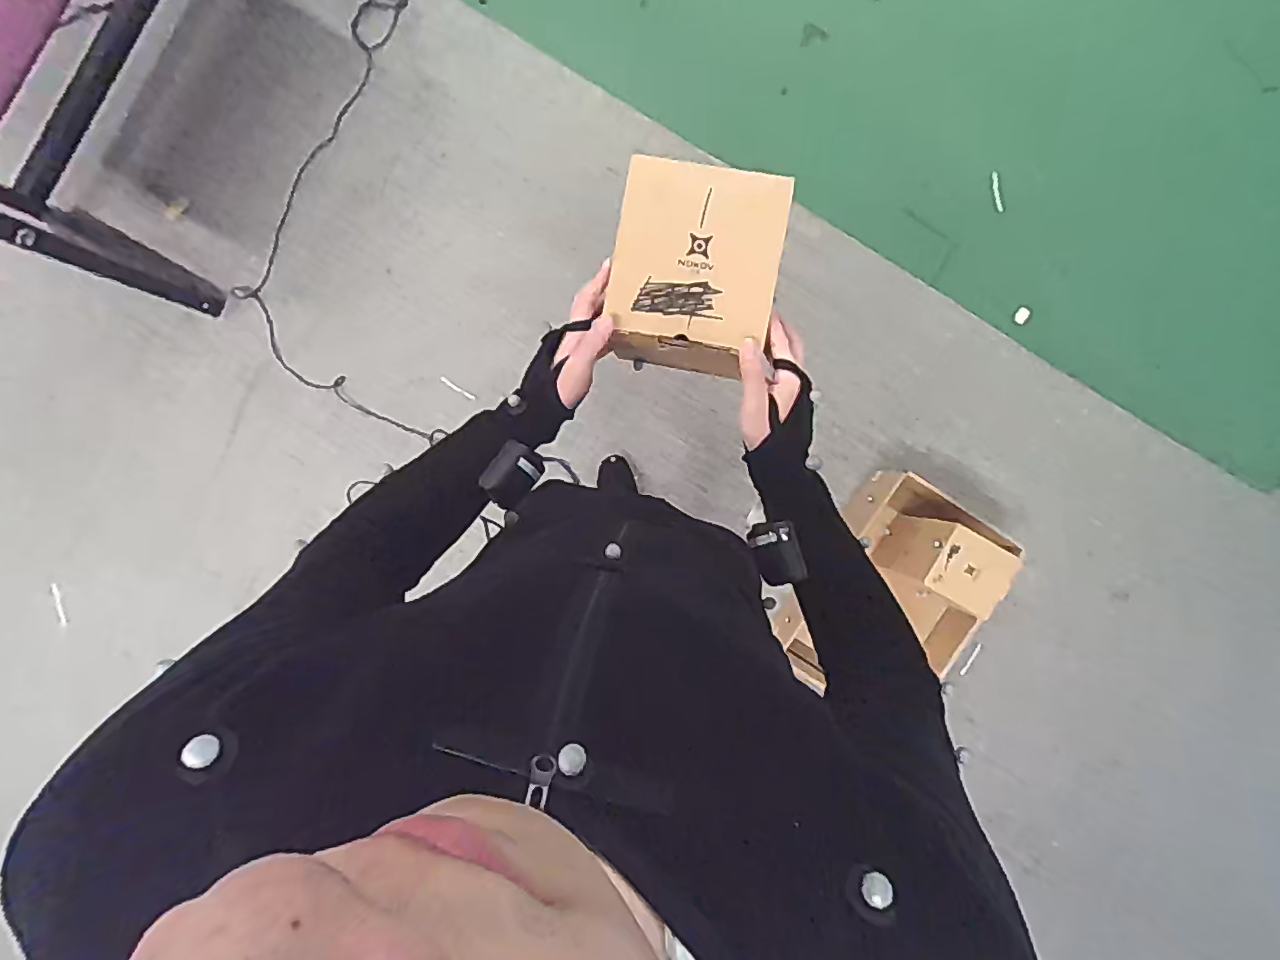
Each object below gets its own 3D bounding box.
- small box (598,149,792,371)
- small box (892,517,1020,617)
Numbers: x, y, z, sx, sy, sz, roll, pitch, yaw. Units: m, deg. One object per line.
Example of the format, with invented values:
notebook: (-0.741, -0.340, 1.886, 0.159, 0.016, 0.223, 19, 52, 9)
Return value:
small box: (0.057, -0.228, 0.608, 0.168, 0.176, 0.179, 10, 93, 2)
small box: (0.768, 0.204, 1.333, 0.179, 0.176, 0.168, 31, 91, -1)
